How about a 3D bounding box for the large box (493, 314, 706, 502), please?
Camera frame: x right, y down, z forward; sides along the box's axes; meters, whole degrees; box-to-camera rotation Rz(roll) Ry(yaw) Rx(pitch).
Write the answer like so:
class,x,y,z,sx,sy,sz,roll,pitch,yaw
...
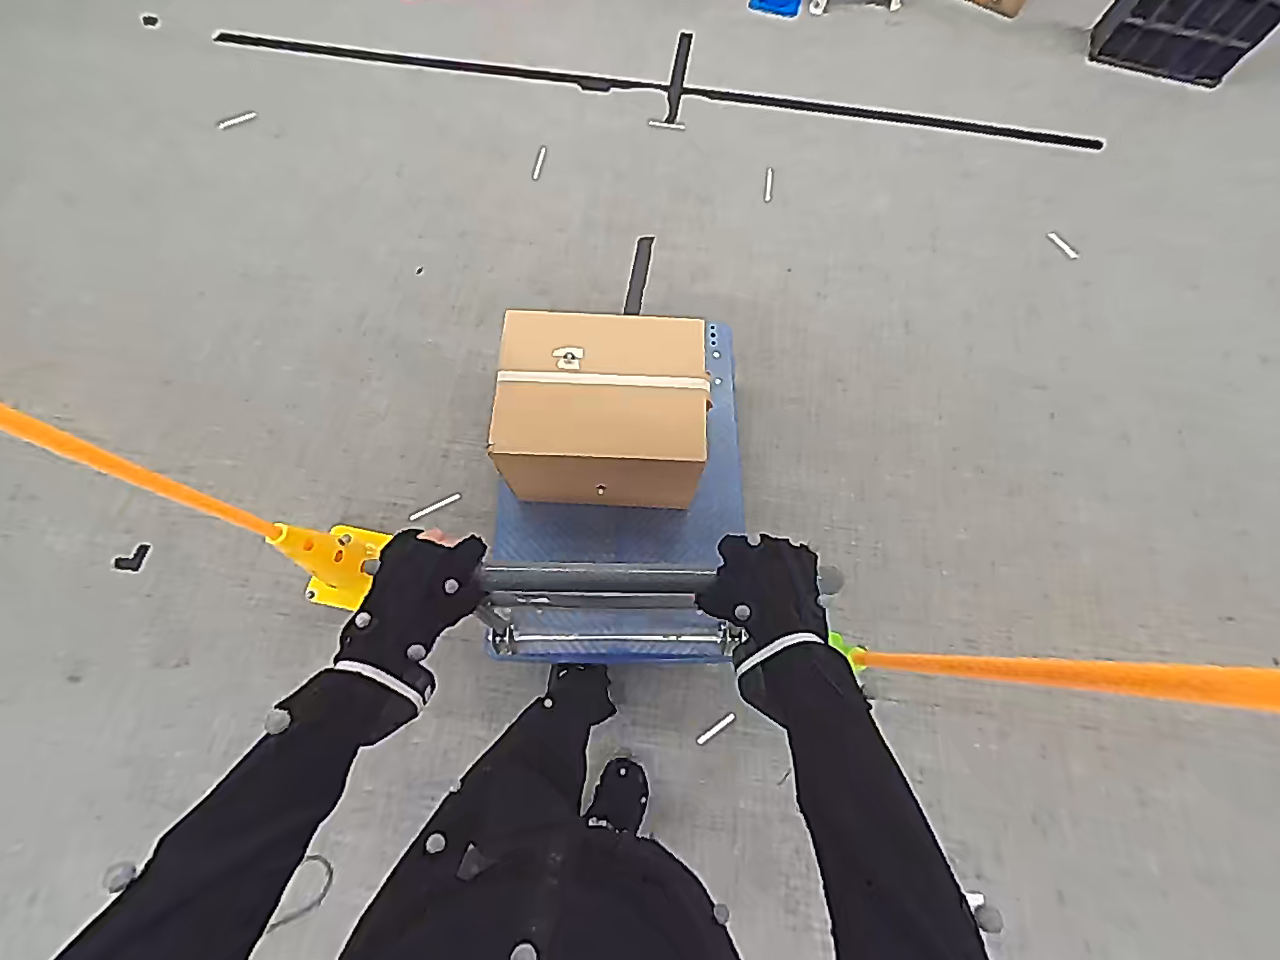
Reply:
class,x,y,z,sx,sy,sz,roll,pitch,yaw
large box,-0.072,-0.141,1.191,0.408,0.320,0.320,2,71,0
